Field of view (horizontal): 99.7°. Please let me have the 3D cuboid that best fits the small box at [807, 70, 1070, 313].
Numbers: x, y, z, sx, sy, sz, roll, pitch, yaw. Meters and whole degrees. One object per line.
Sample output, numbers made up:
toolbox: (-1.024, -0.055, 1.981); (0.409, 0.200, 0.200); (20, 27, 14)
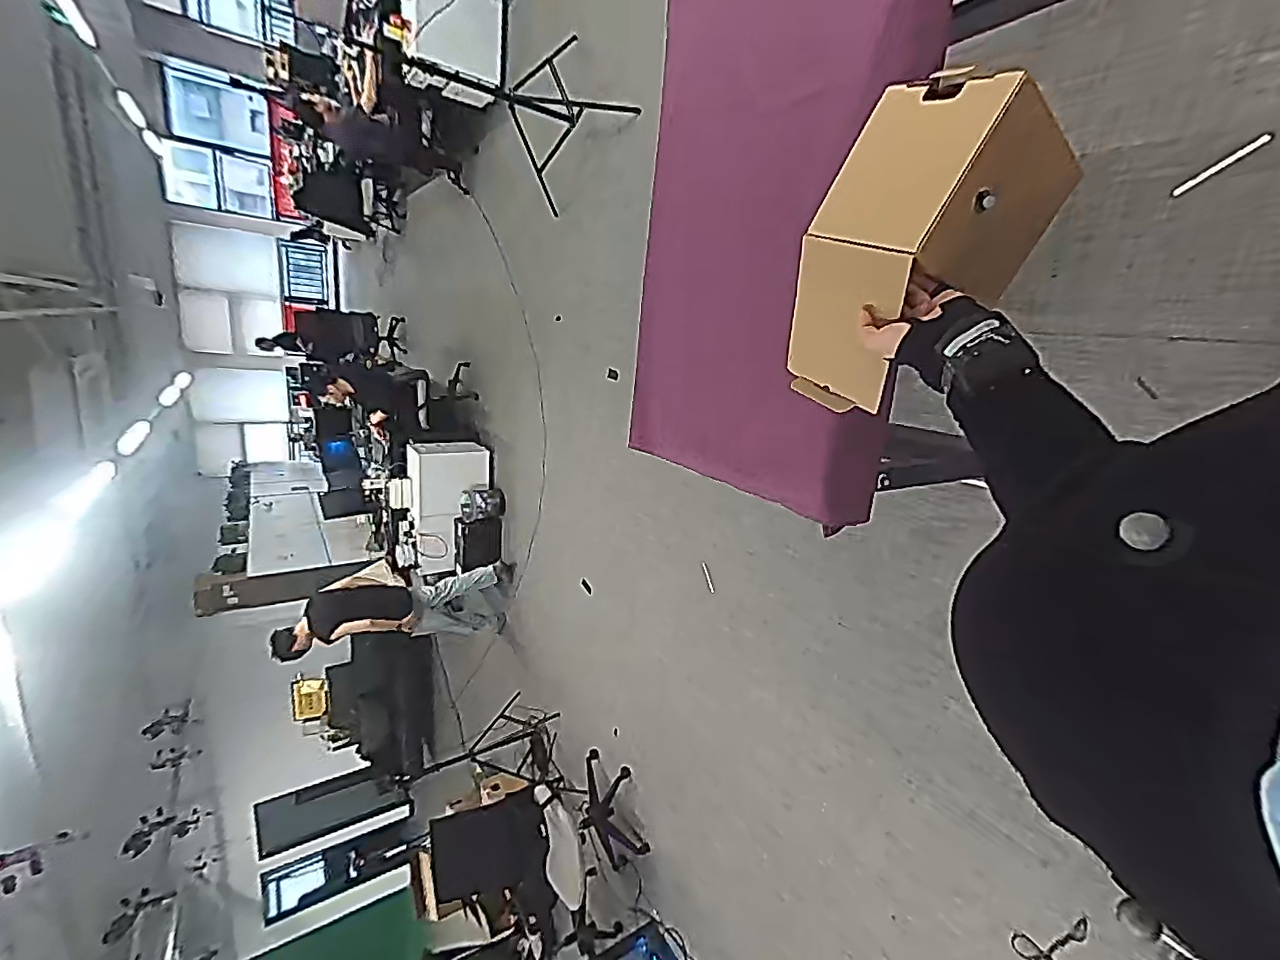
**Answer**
small box: (0.337, -0.315, 0.617); (0.179, 0.176, 0.168); (-61, 37, 16)
